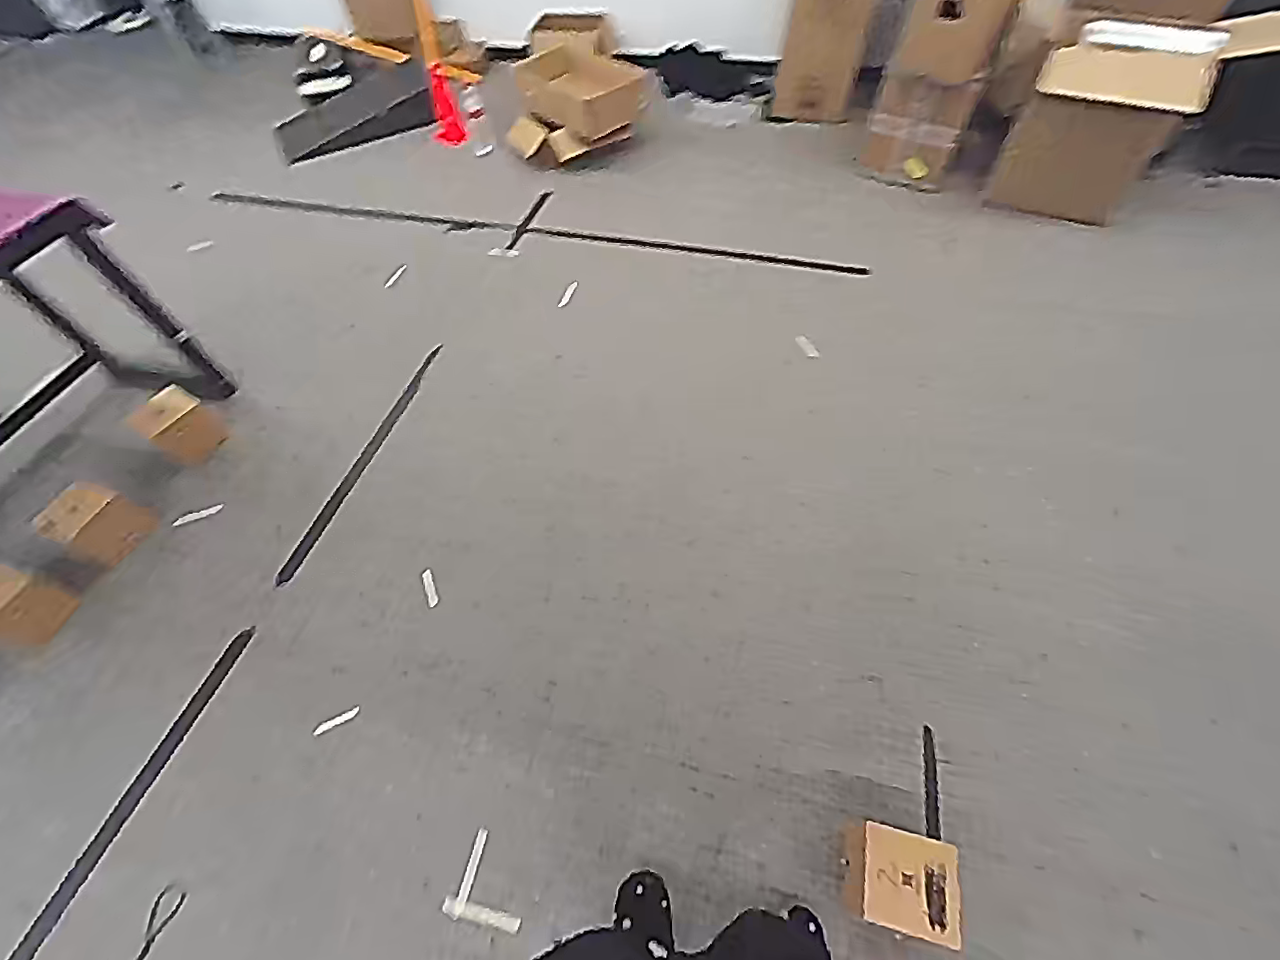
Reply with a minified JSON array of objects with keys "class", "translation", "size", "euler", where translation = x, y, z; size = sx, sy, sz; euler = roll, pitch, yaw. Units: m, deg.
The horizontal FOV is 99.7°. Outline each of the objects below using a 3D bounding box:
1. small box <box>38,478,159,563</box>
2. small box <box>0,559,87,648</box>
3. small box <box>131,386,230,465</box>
[{"class":"small box","translation":[-1.643,0.127,1.660],"size":[0.168,0.176,0.179],"euler":[15,58,12]},{"class":"small box","translation":[-1.741,0.351,1.518],"size":[0.168,0.176,0.179],"euler":[13,58,10]},{"class":"small box","translation":[-1.569,-0.186,1.864],"size":[0.168,0.176,0.179],"euler":[27,63,18]}]
